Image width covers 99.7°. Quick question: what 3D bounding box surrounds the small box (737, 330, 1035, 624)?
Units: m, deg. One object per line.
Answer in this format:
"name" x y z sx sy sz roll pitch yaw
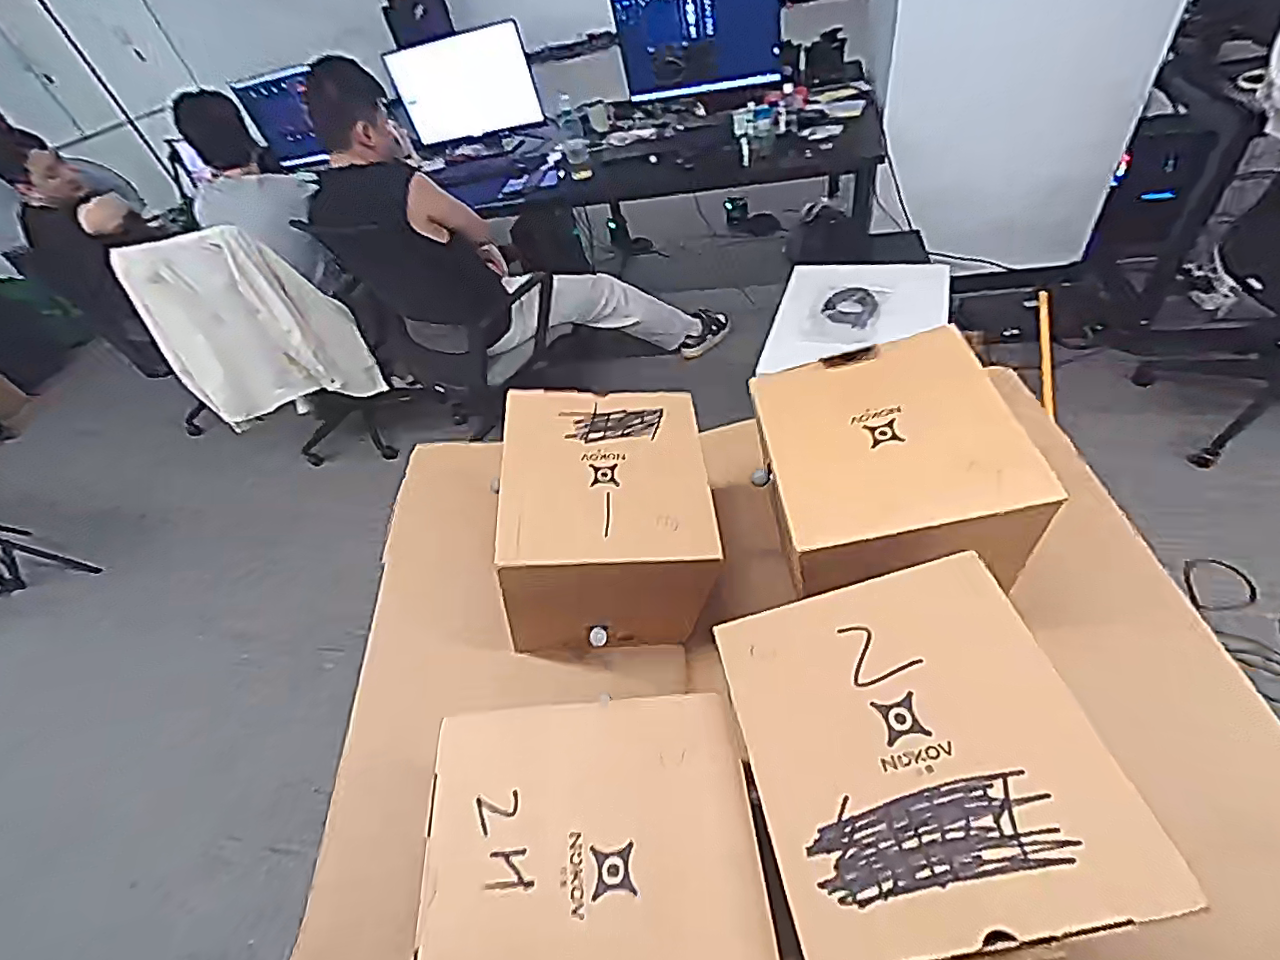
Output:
"small box" 0.191 0.009 0.464 0.168 0.176 0.179 -14 50 11
